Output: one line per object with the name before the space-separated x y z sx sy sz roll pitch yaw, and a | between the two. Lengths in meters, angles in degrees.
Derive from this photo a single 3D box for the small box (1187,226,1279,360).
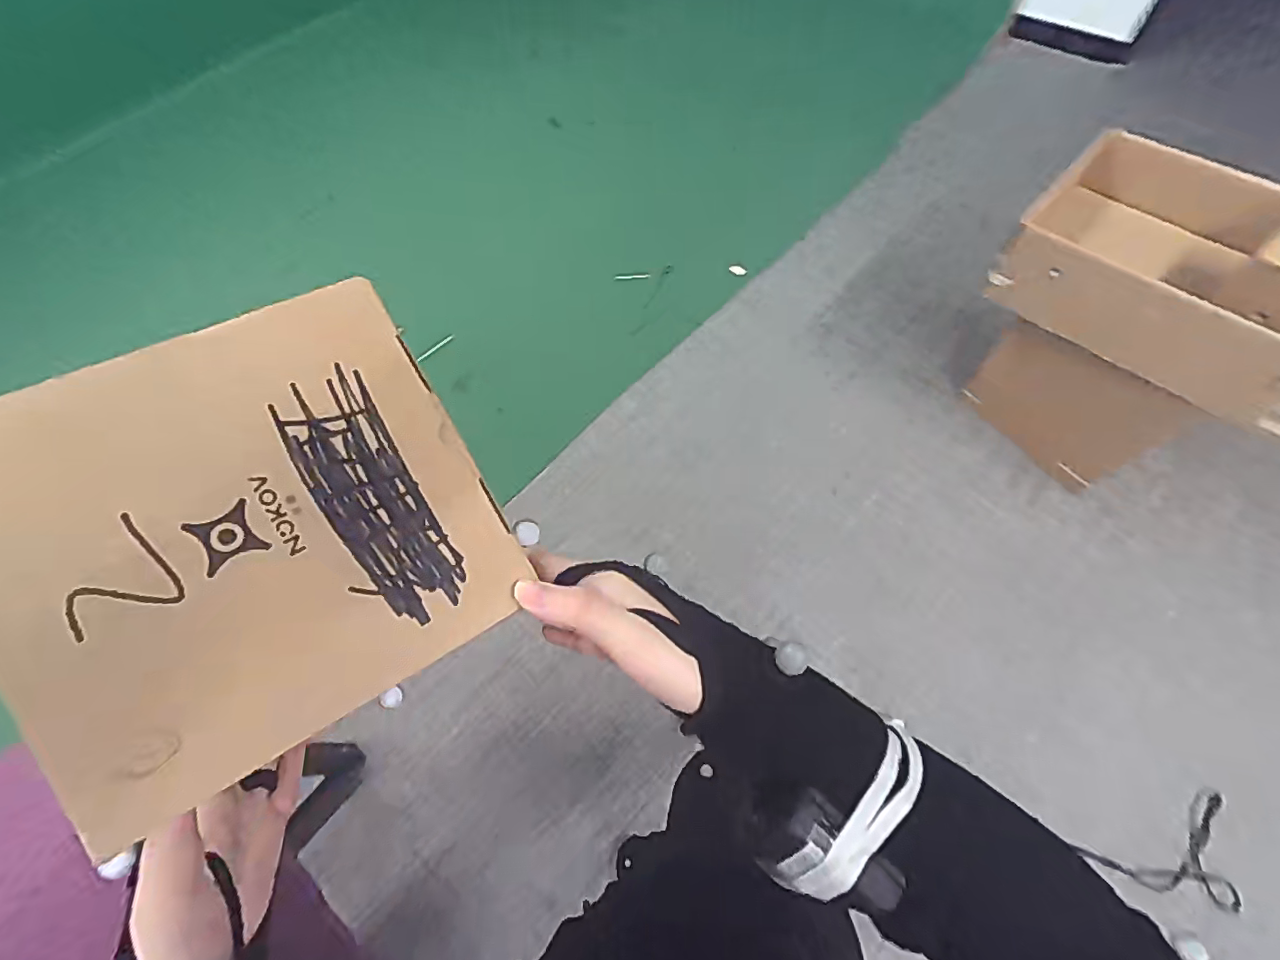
small box | 1.208 -0.361 1.017 0.179 0.176 0.168 -37 67 -11
